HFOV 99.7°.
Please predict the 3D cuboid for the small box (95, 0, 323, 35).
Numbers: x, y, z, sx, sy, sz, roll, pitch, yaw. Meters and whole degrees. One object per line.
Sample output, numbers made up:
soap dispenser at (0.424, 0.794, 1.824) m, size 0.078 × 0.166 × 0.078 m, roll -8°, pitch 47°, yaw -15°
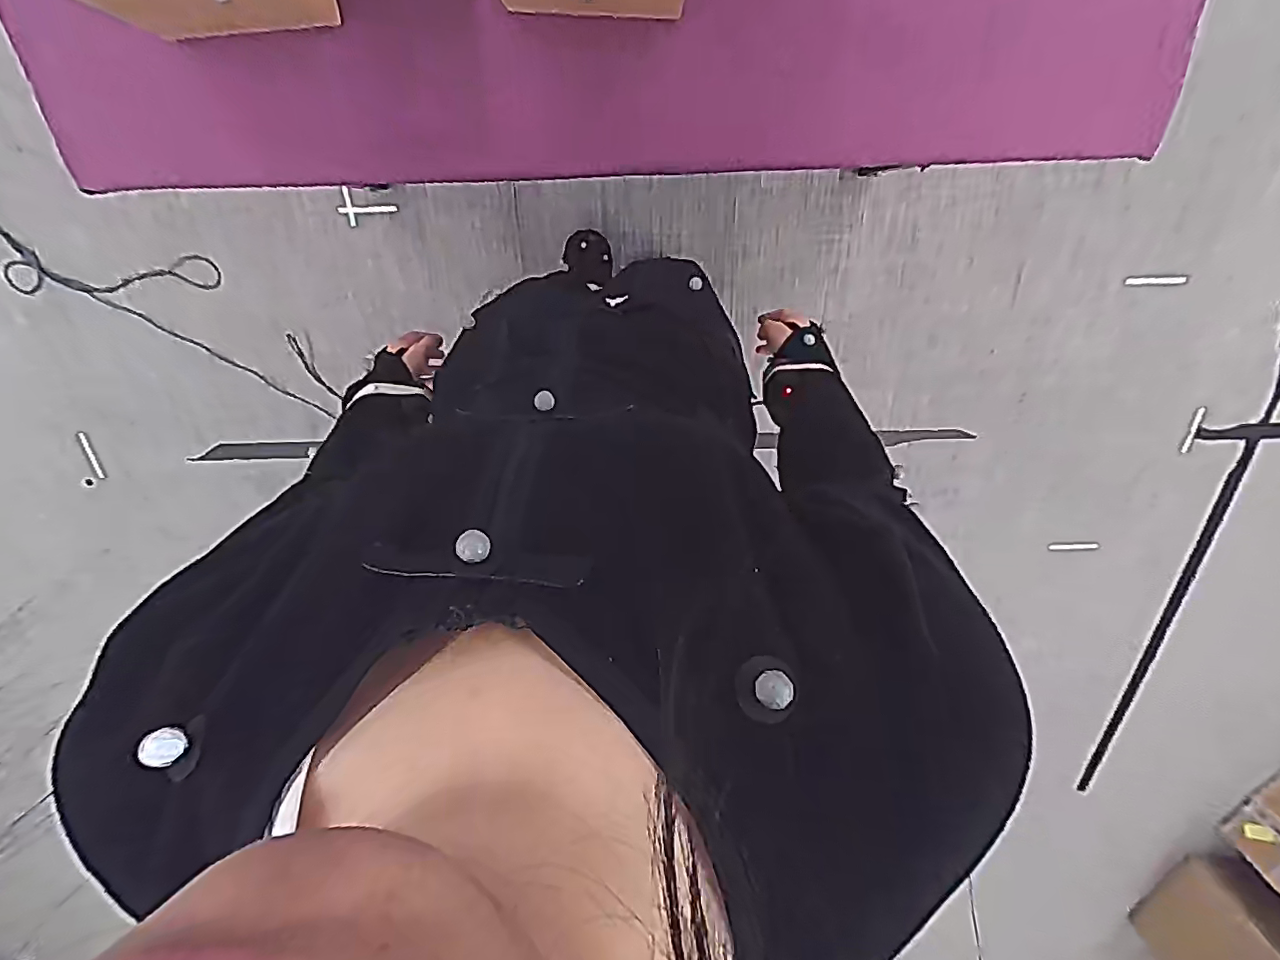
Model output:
small box at (-0.386, -0.490, 0.433) m, size 0.179 × 0.176 × 0.168 m, roll -4°, pitch 114°, yaw 1°
